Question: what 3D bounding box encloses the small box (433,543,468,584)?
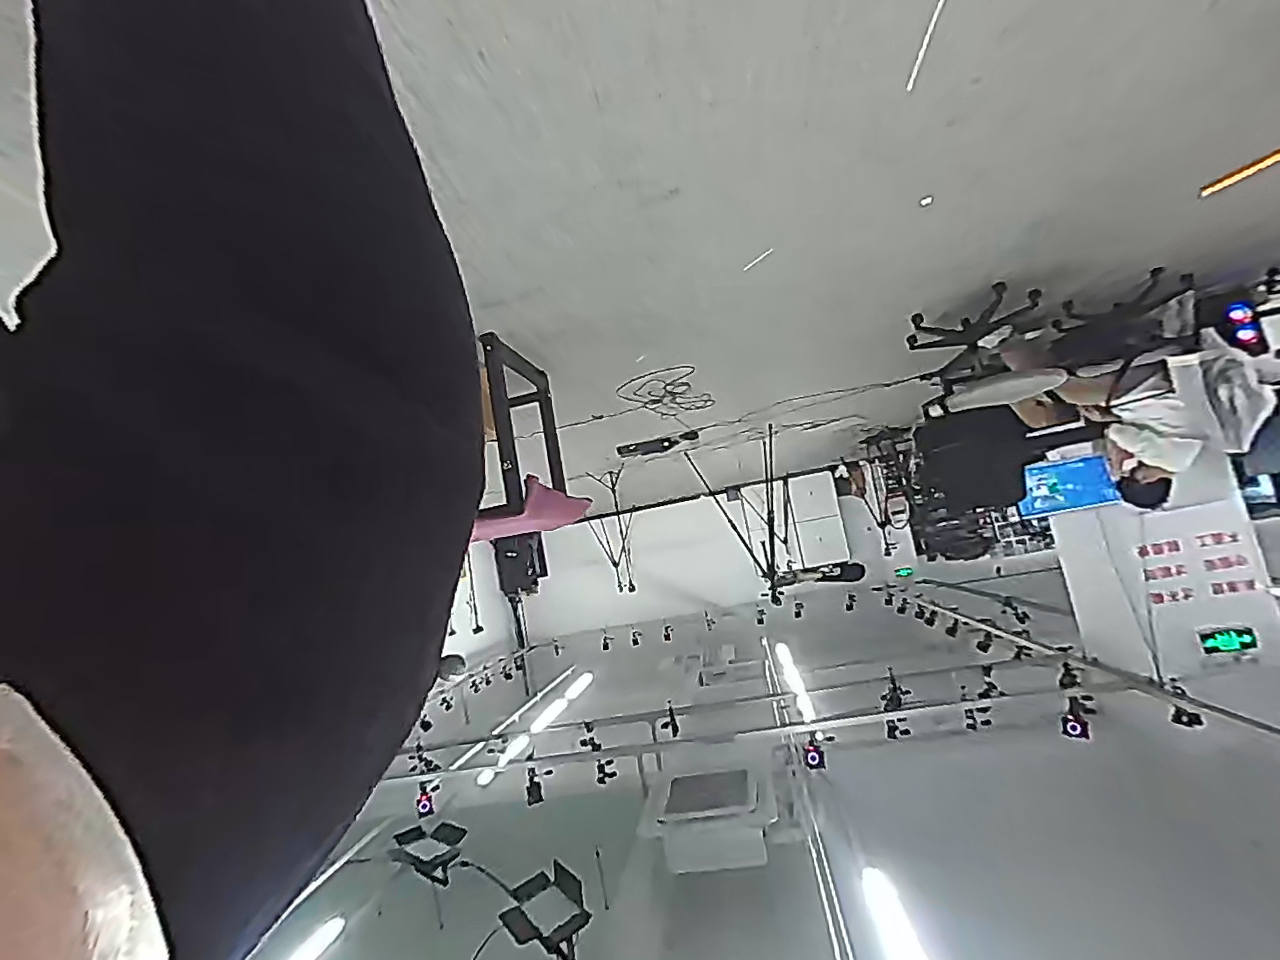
[{"bbox_3d":[-0.904,0.380,2.456,0.168,0.176,0.179,-11,172,7],"label":"small box"}]
